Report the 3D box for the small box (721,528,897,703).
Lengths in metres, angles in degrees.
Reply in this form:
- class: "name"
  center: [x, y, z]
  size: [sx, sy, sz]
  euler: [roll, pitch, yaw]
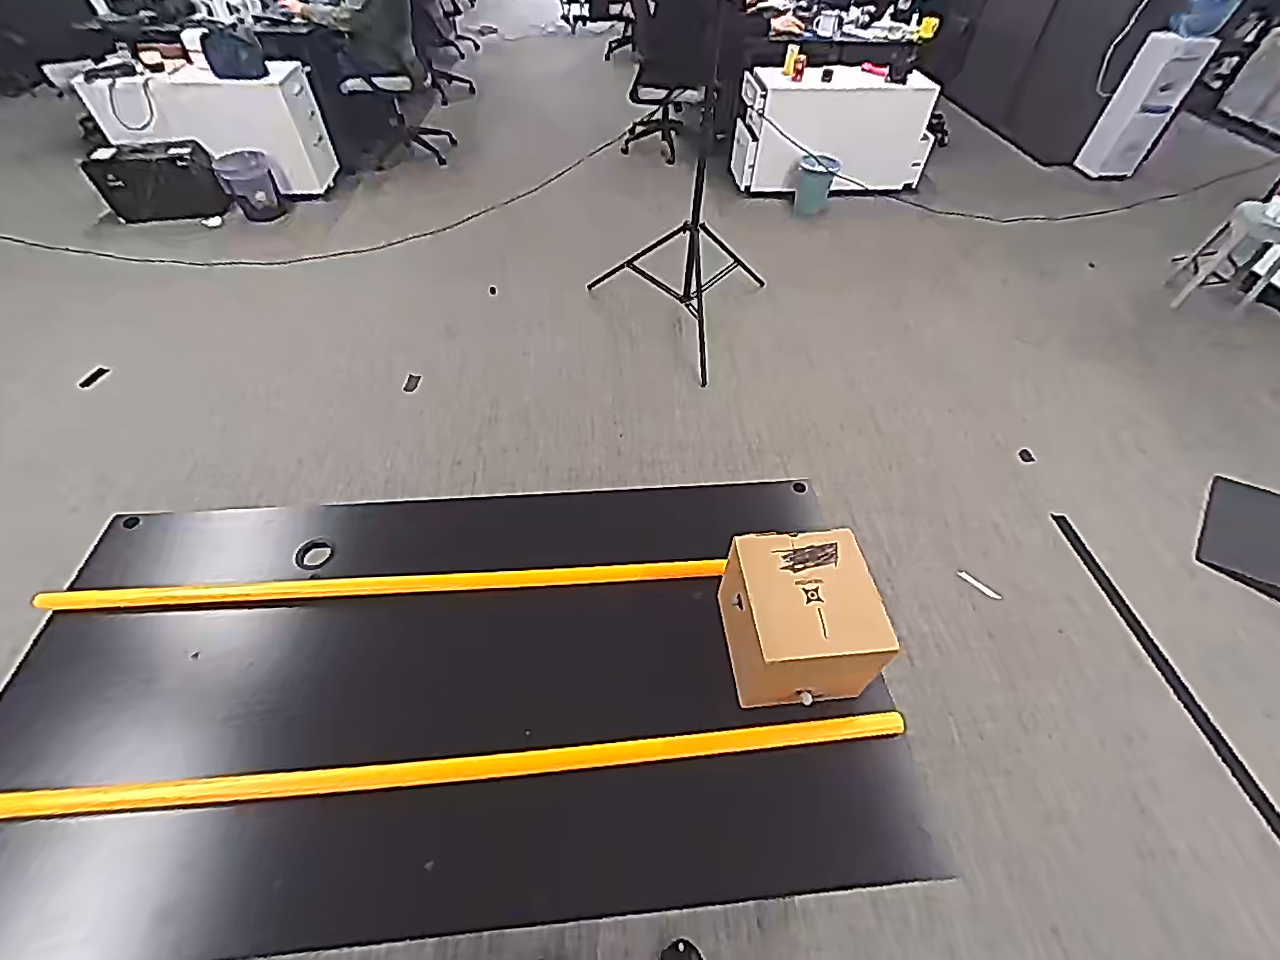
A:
- class: "small box"
  center: [0.214, 0.187, 0.747]
  size: [0.168, 0.176, 0.179]
  euler: [-4, 51, -4]
